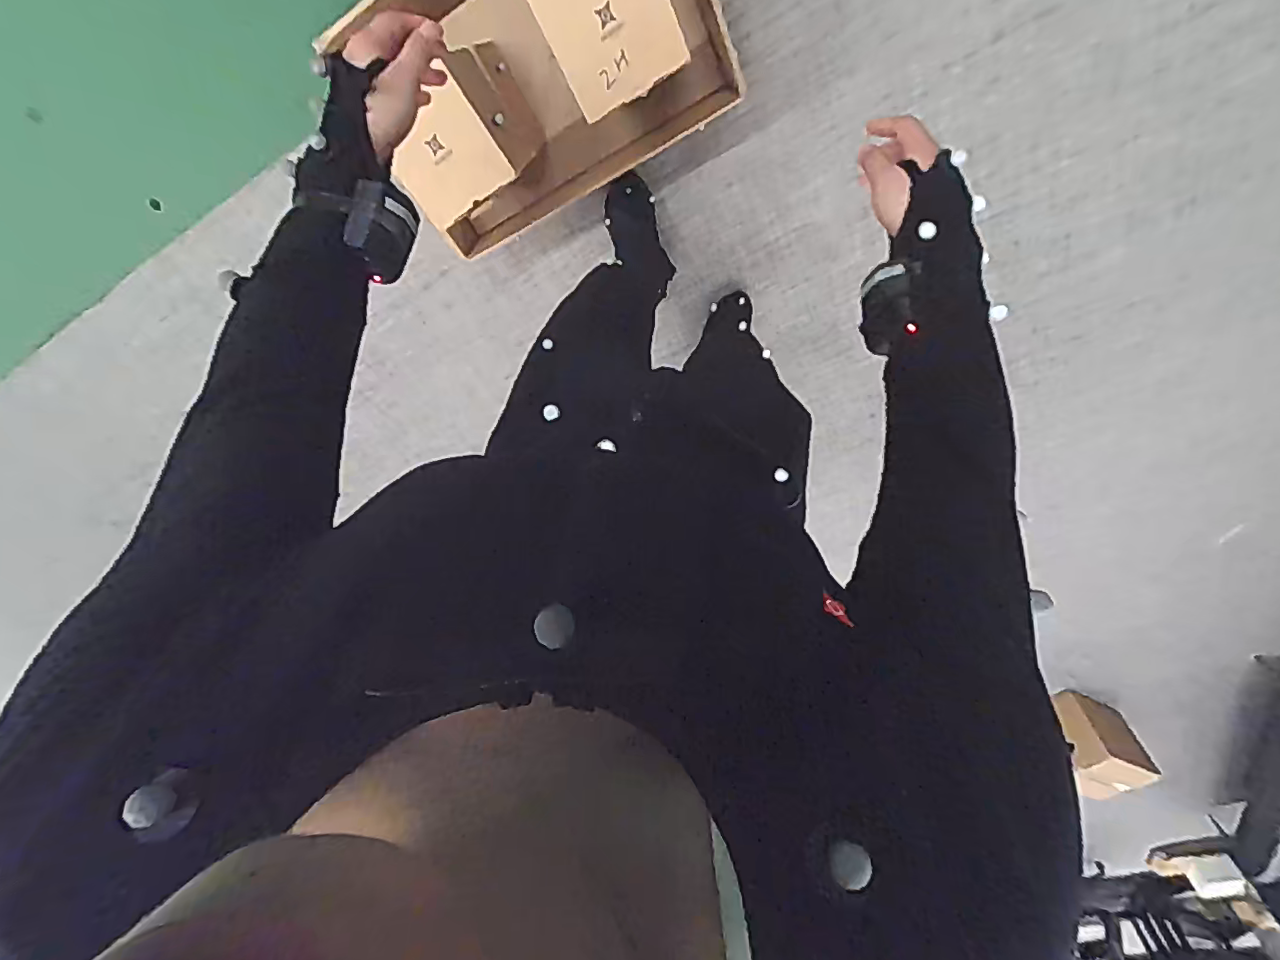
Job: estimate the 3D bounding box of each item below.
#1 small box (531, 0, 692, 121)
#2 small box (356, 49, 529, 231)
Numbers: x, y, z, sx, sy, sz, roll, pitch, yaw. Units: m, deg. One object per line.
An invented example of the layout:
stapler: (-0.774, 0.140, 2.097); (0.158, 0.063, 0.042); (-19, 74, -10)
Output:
small box: (-0.040, -0.652, 0.762); (0.168, 0.176, 0.179); (-21, 129, 19)
small box: (-0.298, -0.541, 0.860); (0.168, 0.176, 0.179); (-24, 128, 19)
